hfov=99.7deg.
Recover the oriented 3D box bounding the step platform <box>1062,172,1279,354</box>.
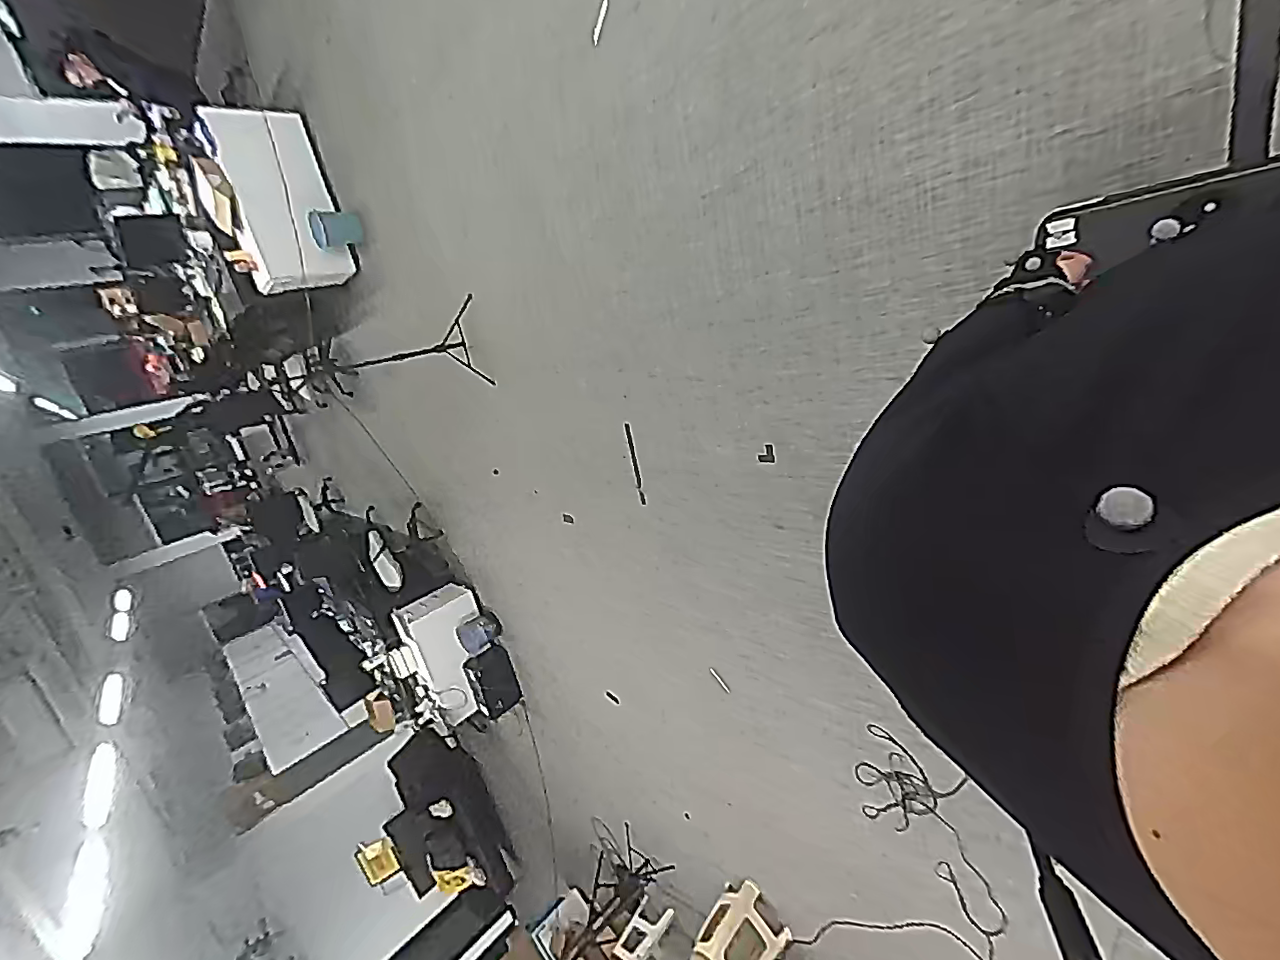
[{"bbox_3d":[1.130,-0.372,0.893,0.684,0.204,0.286,9,116,45],"label":"step platform"}]
